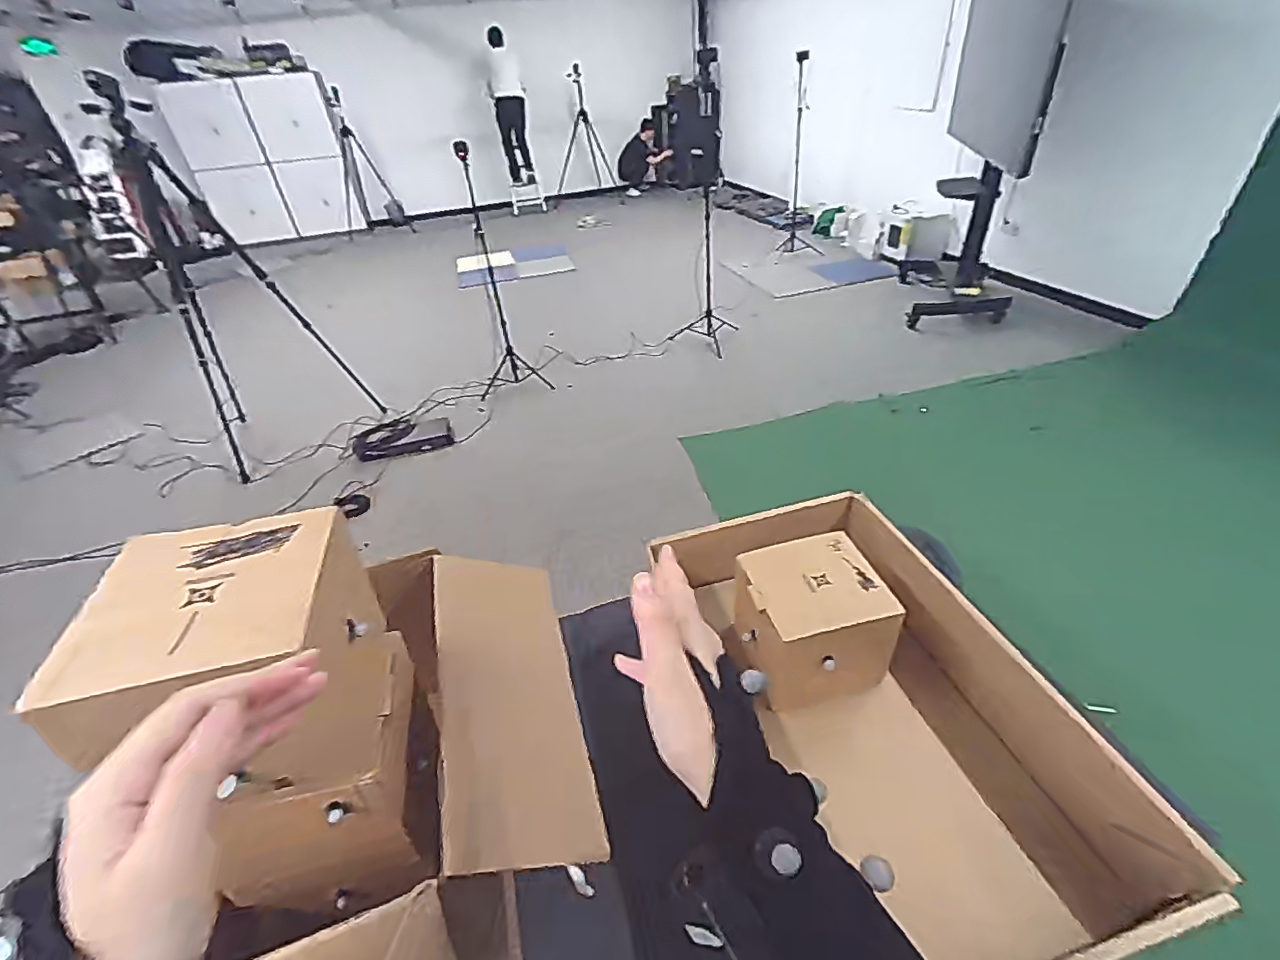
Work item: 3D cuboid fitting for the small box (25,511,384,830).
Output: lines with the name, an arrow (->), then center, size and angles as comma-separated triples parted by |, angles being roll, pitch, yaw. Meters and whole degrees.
small box -> -0.332, 0.154, 0.467 | 0.168, 0.176, 0.179 | -10, 36, -14

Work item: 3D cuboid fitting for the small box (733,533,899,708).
small box -> 0.249, 0.210, 0.805 | 0.179, 0.176, 0.168 | -13, 38, -7
